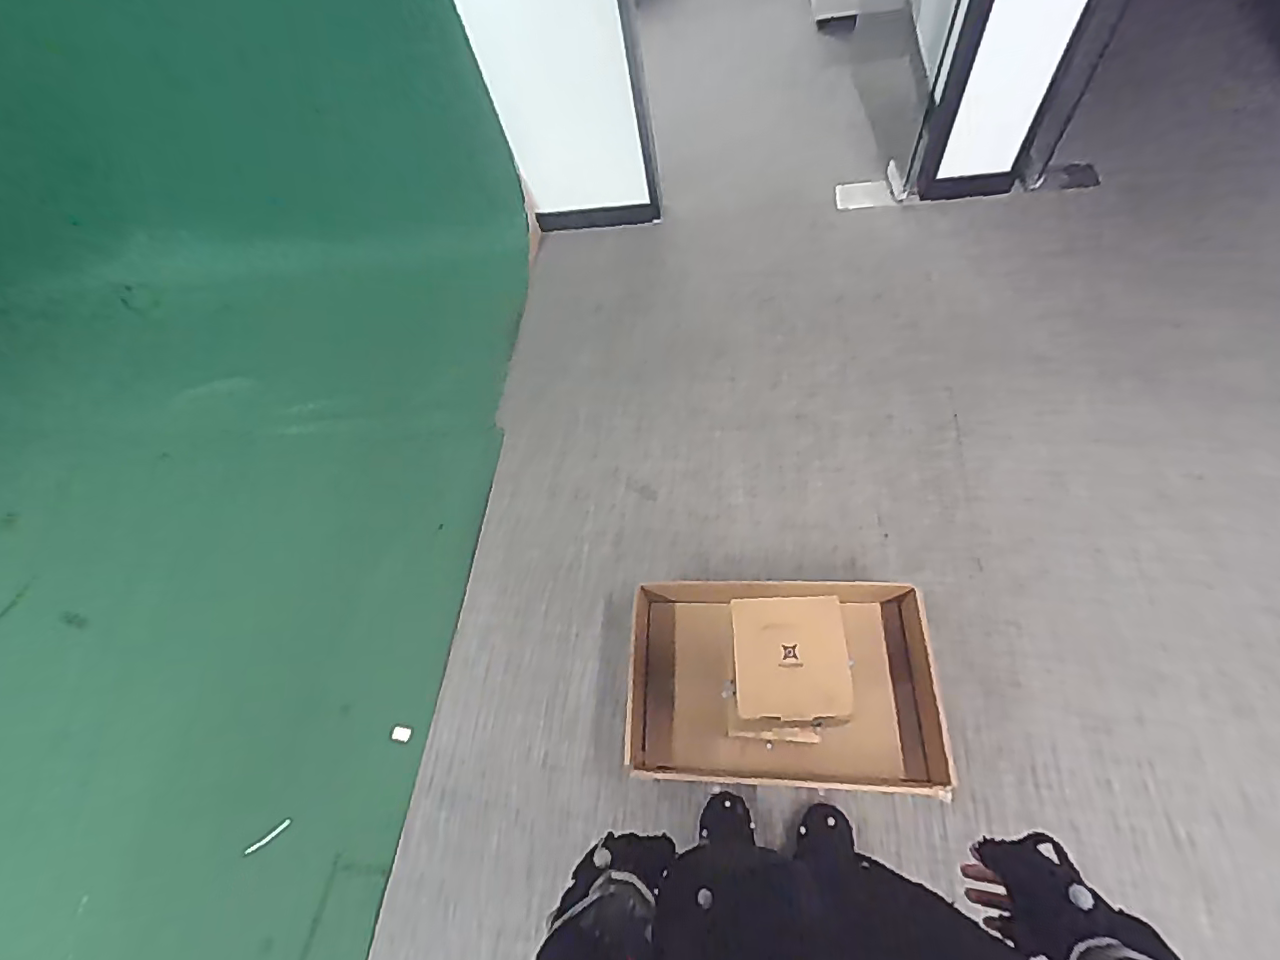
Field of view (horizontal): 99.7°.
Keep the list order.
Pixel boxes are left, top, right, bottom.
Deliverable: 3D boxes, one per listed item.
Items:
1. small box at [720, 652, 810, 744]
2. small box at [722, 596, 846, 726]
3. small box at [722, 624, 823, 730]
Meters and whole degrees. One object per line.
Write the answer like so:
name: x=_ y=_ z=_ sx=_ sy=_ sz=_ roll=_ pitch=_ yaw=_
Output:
small box: x=0.264 y=0.470 z=1.164 sx=0.179 sy=0.176 sz=0.168 roll=0 pitch=61 yaw=11
small box: x=0.222 y=0.297 z=0.873 sx=0.168 sy=0.176 sz=0.179 roll=-3 pitch=60 yaw=7
small box: x=0.242 y=0.371 z=1.017 sx=0.168 sy=0.176 sz=0.179 roll=-3 pitch=62 yaw=8
